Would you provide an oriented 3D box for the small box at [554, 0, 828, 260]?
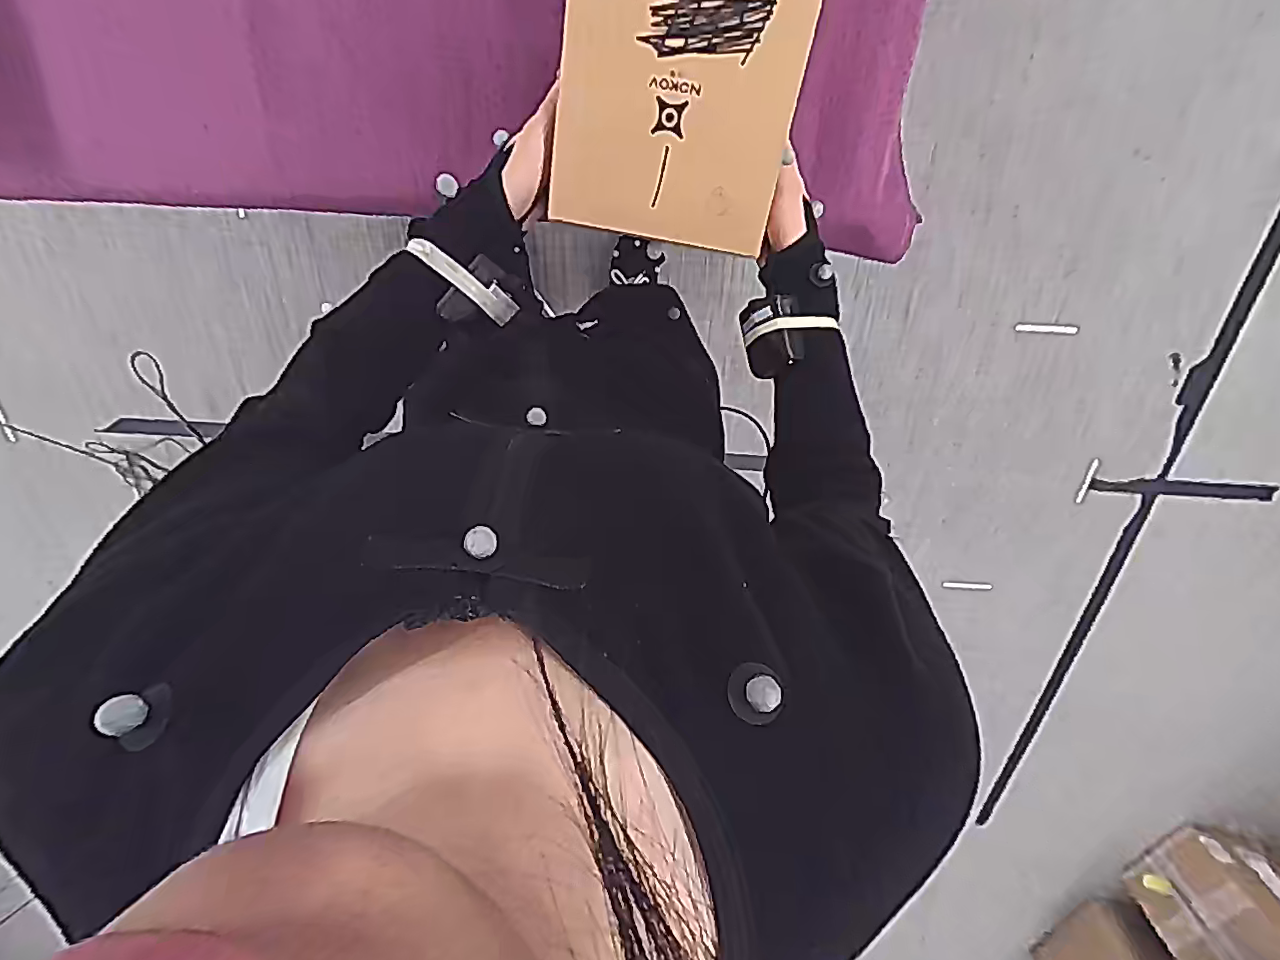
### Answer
[{"bbox_3d":[0.036,-0.294,0.454,0.168,0.176,0.179,12,114,1],"label":"small box"}]
